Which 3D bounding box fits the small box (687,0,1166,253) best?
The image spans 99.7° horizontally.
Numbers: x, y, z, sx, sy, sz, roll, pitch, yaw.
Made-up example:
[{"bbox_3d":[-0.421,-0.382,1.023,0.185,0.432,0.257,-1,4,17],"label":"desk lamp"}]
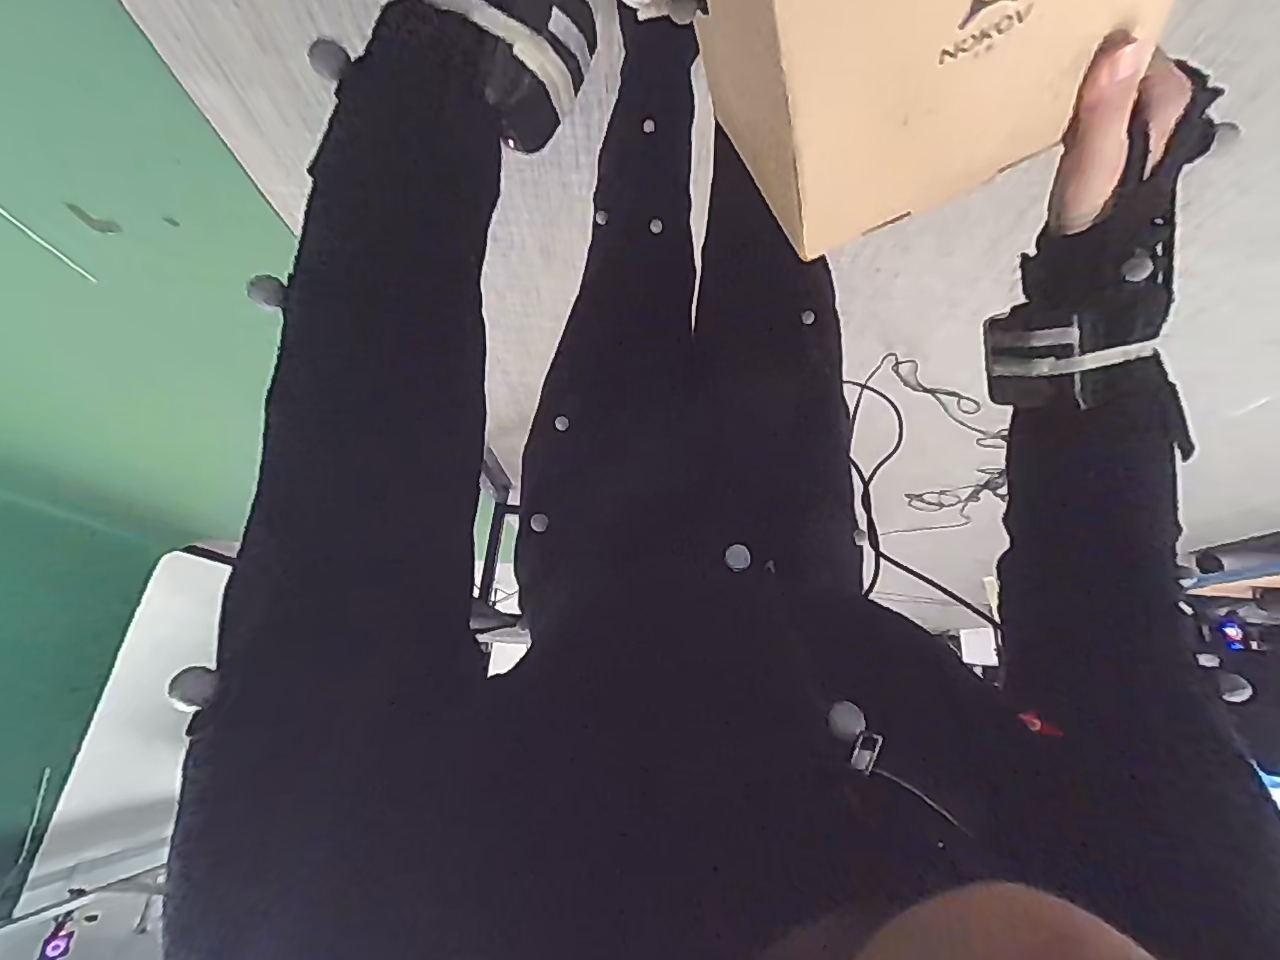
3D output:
[{"bbox_3d":[0.116,-0.256,0.252,0.168,0.176,0.179,-23,151,11],"label":"small box"}]
